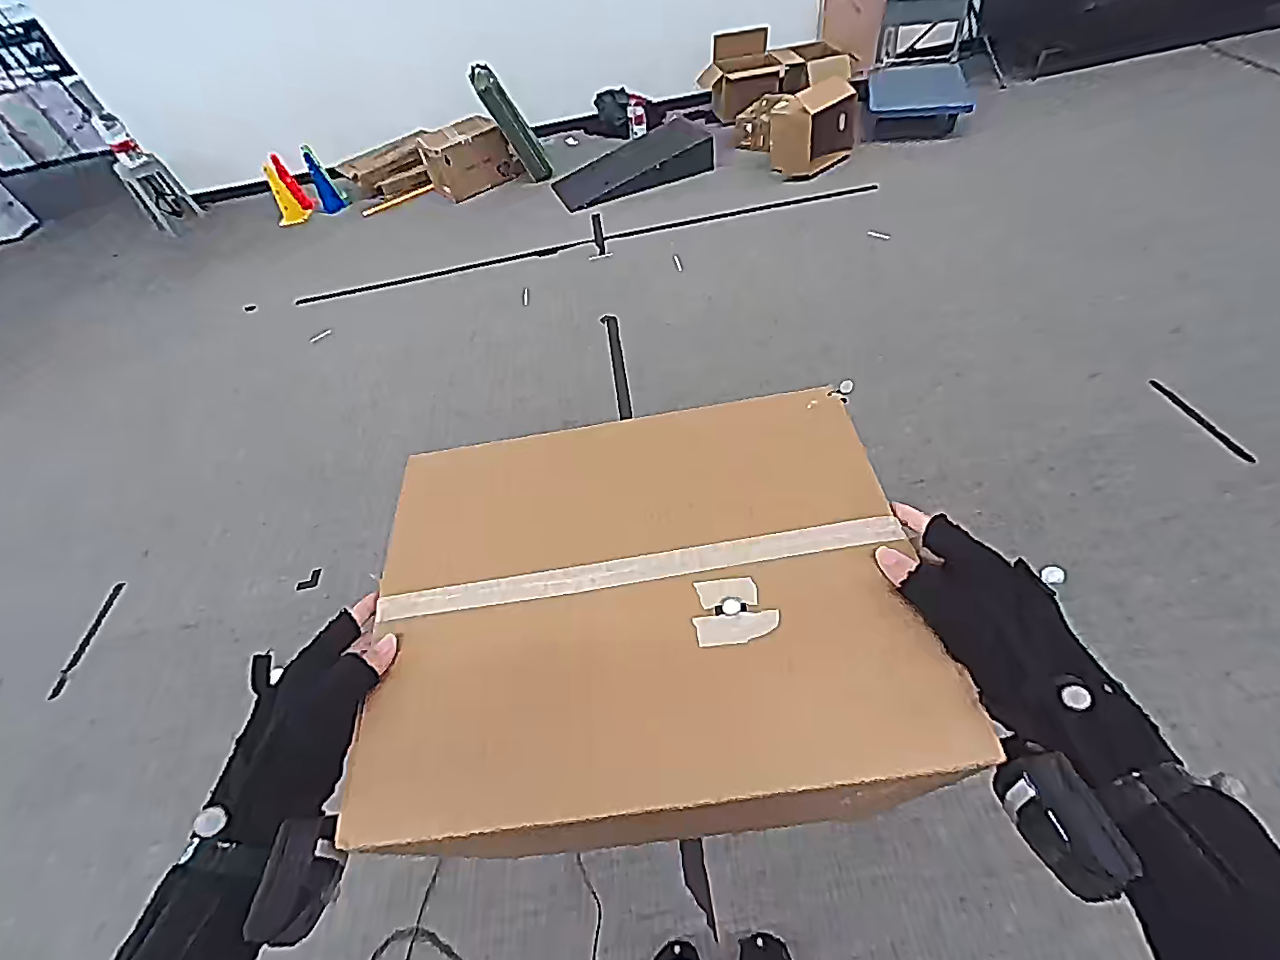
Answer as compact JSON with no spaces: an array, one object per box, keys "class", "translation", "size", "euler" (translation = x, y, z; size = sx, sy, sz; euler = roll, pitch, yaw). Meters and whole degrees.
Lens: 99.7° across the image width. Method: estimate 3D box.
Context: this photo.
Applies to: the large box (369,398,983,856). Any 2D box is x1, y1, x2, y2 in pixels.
[{"class":"large box","translation":[0.020,0.163,0.546],"size":[0.408,0.320,0.320],"euler":[-9,54,2]}]
